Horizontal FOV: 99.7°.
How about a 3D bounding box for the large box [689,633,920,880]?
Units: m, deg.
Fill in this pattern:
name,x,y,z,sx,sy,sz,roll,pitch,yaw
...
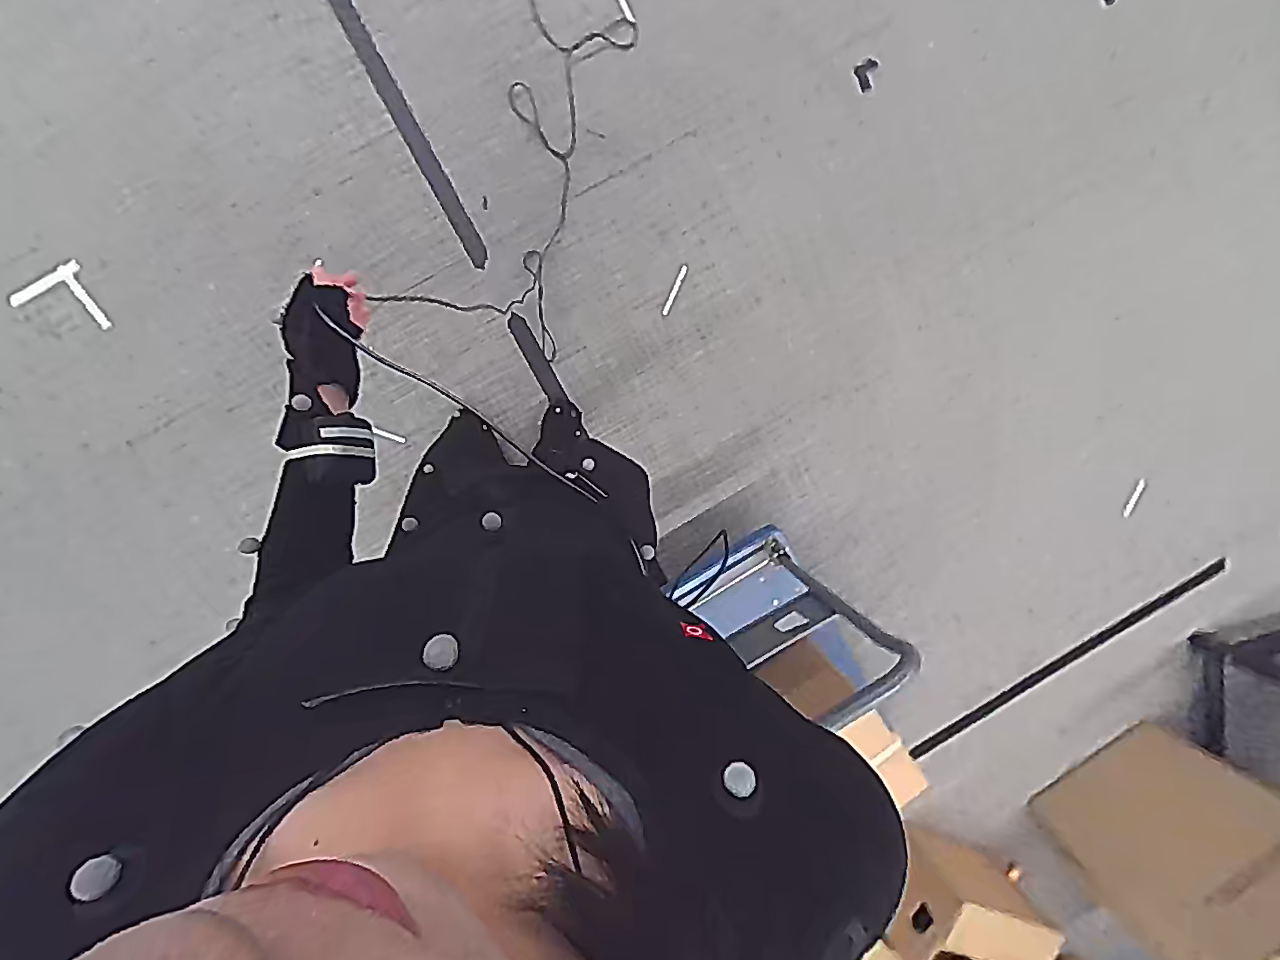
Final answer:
name,x,y,z,sx,sy,sz,roll,pitch,yaw
large box,0.396,0.678,1.379,0.408,0.320,0.320,-38,103,1
